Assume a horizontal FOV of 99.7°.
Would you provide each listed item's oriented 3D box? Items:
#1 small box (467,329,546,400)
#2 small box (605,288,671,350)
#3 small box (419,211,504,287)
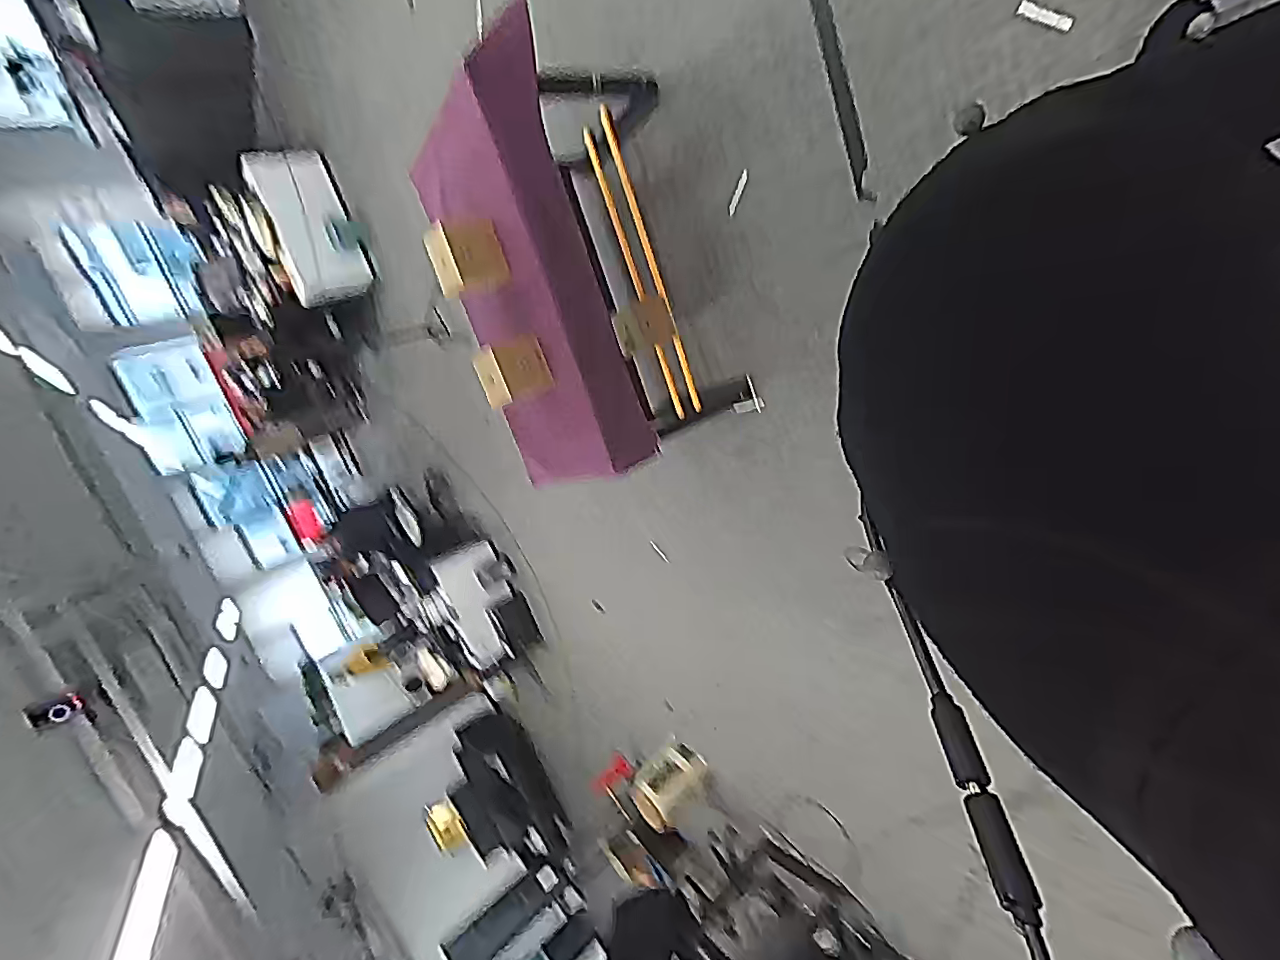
[{"bbox_3d":[-0.427,-0.376,1.756,0.179,0.176,0.168,-5,108,55],"label":"small box"},{"bbox_3d":[-0.003,-0.634,2.122,0.168,0.176,0.179,-8,105,55],"label":"small box"},{"bbox_3d":[-0.553,-0.721,1.682,0.168,0.176,0.179,1,115,53],"label":"small box"}]
